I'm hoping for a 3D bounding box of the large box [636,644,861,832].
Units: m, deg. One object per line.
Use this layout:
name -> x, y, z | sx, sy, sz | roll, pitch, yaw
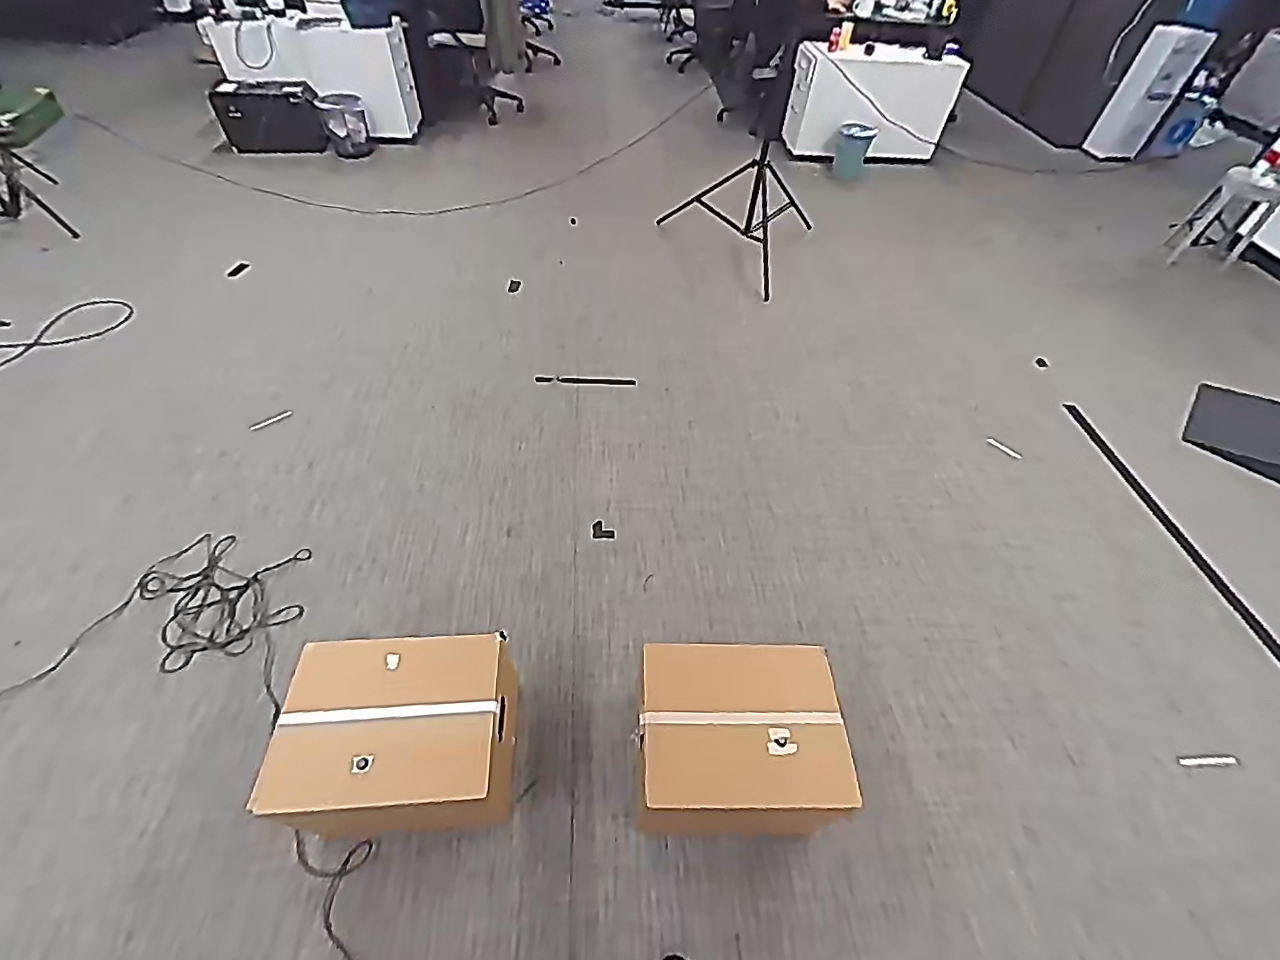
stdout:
large box -> 0.203, 0.577, 1.205 | 0.408, 0.320, 0.320 | 2, 50, -3
